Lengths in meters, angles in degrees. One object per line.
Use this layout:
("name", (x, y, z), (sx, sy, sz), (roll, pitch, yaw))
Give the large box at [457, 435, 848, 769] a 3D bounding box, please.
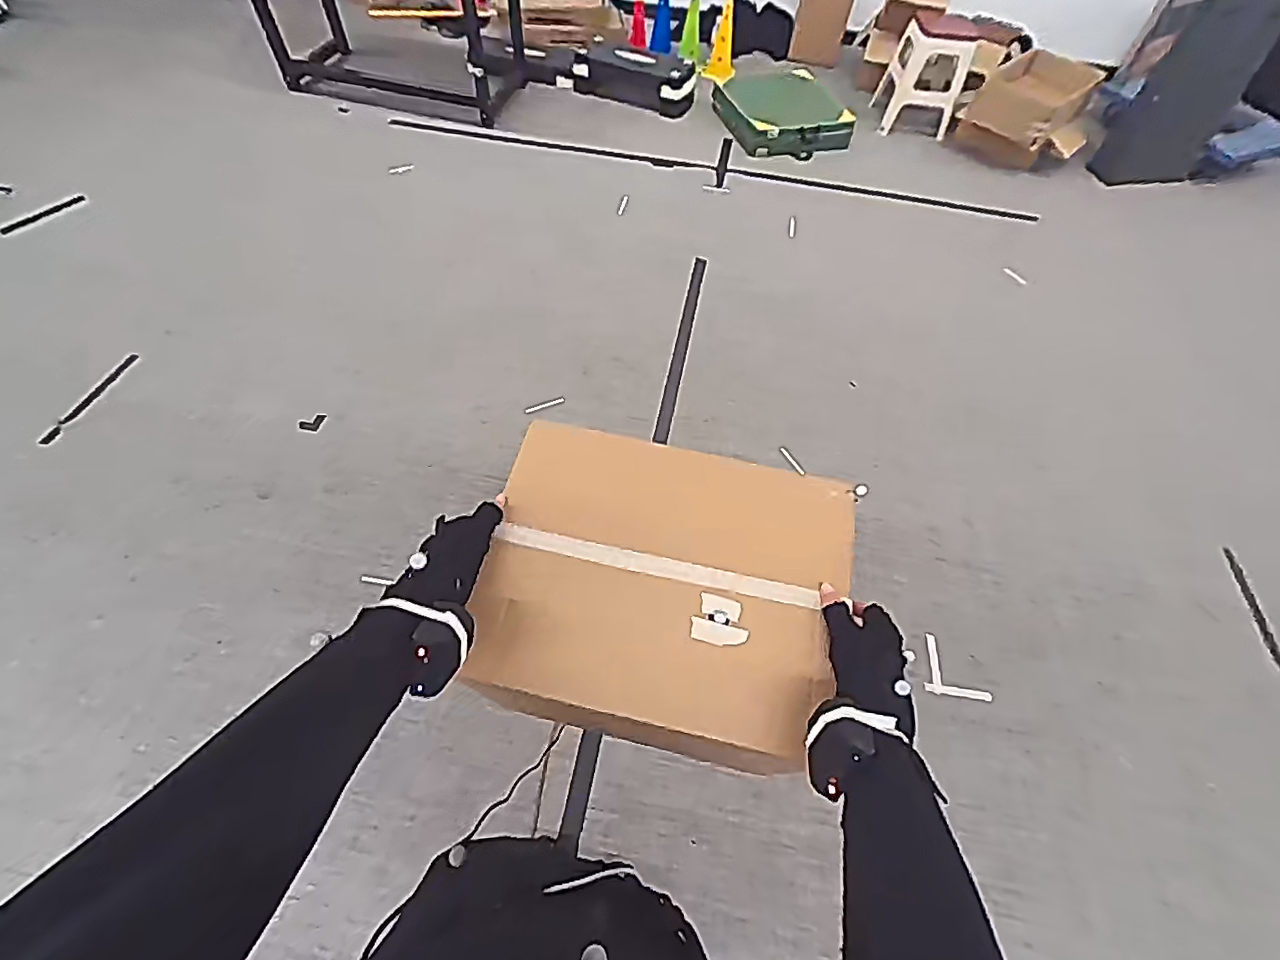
("large box", (0.026, 0.181, 0.741), (0.408, 0.320, 0.320), (13, 62, 4))
